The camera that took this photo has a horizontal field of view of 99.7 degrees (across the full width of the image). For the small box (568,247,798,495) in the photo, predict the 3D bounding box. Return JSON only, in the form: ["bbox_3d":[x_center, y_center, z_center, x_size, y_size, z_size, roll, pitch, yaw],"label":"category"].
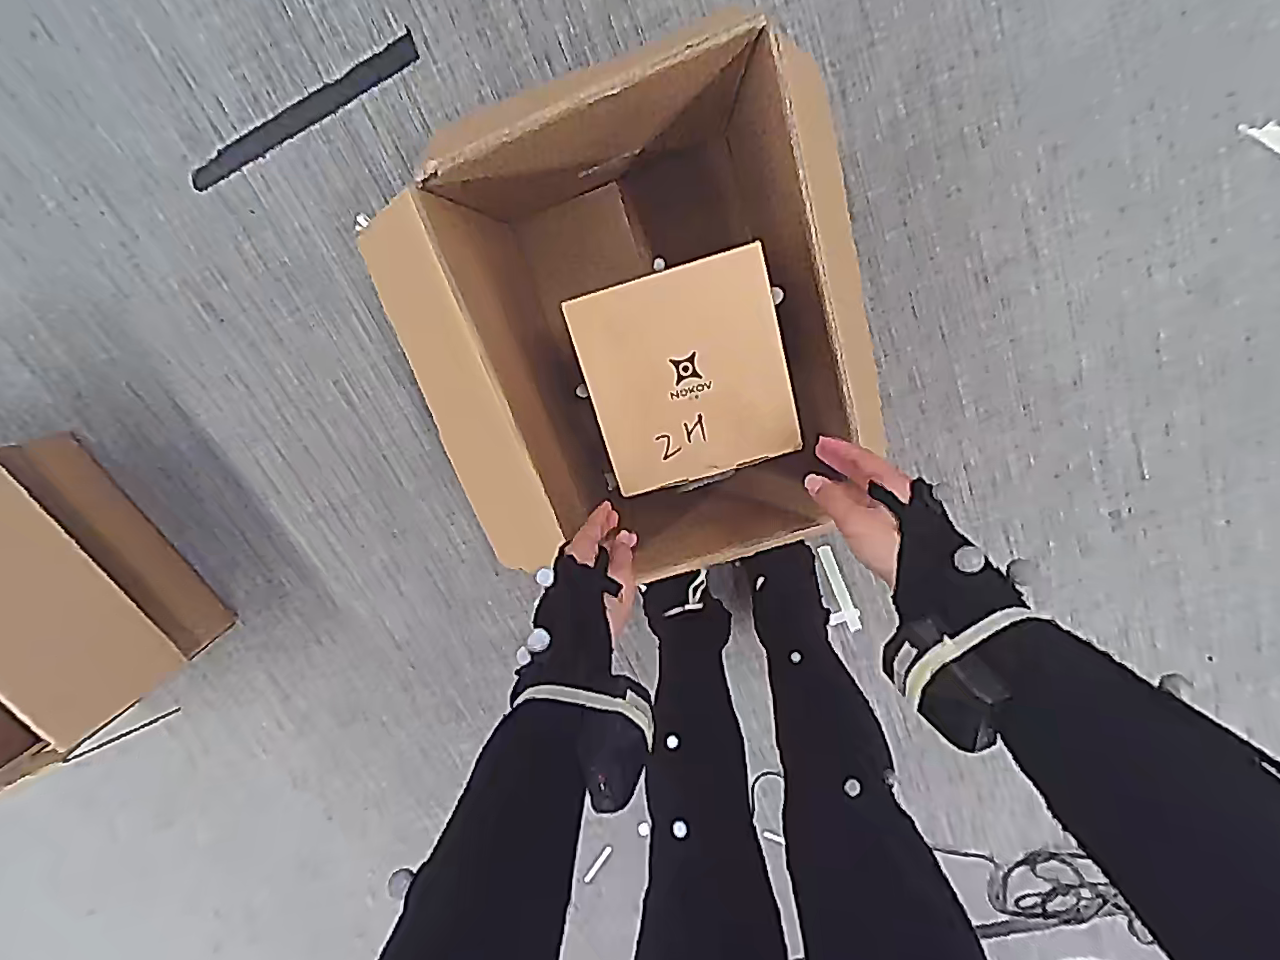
[{"bbox_3d":[0.038,-0.108,0.535,0.168,0.176,0.179,-16,107,5],"label":"small box"}]
